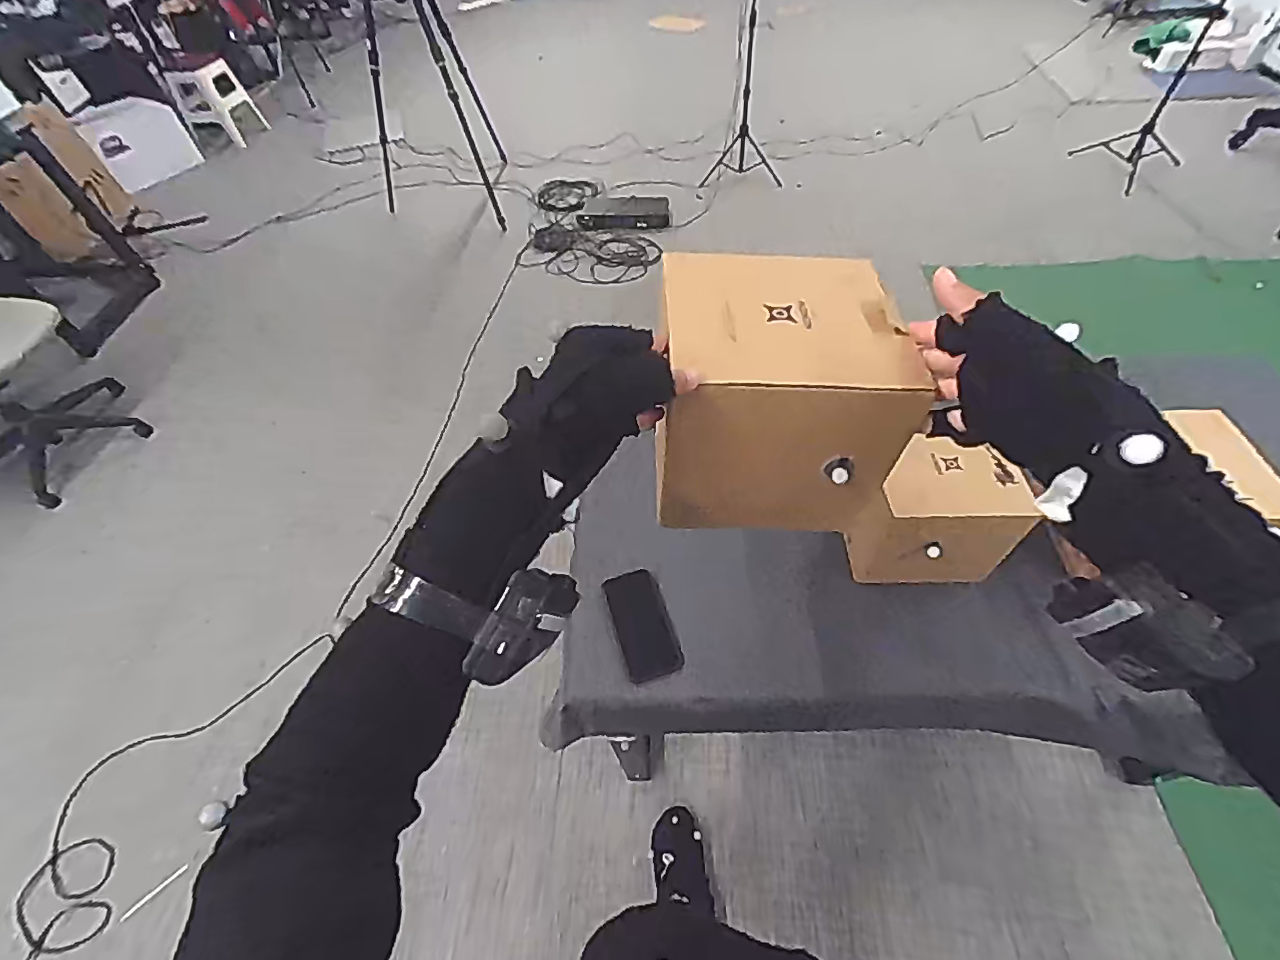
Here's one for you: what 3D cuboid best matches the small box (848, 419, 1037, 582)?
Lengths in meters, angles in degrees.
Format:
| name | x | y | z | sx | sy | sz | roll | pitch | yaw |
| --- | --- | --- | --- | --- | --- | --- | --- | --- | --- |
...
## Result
| name | x | y | z | sx | sy | sz | roll | pitch | yaw |
| --- | --- | --- | --- | --- | --- | --- | --- | --- | --- |
| small box | 0.391 | 0.033 | 0.753 | 0.179 | 0.176 | 0.168 | -2 | 52 | 4 |

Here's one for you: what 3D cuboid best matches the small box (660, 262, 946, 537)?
| name | x | y | z | sx | sy | sz | roll | pitch | yaw |
| --- | --- | --- | --- | --- | --- | --- | --- | --- | --- |
| small box | 0.111 | -0.063 | 0.460 | 0.179 | 0.176 | 0.168 | -1 | 50 | -2 |

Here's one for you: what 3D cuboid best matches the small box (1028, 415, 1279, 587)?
| name | x | y | z | sx | sy | sz | roll | pitch | yaw |
| --- | --- | --- | --- | --- | --- | --- | --- | --- | --- |
| small box | 0.676 | 0.032 | 0.731 | 0.168 | 0.176 | 0.179 | 0 | 51 | 4 |
